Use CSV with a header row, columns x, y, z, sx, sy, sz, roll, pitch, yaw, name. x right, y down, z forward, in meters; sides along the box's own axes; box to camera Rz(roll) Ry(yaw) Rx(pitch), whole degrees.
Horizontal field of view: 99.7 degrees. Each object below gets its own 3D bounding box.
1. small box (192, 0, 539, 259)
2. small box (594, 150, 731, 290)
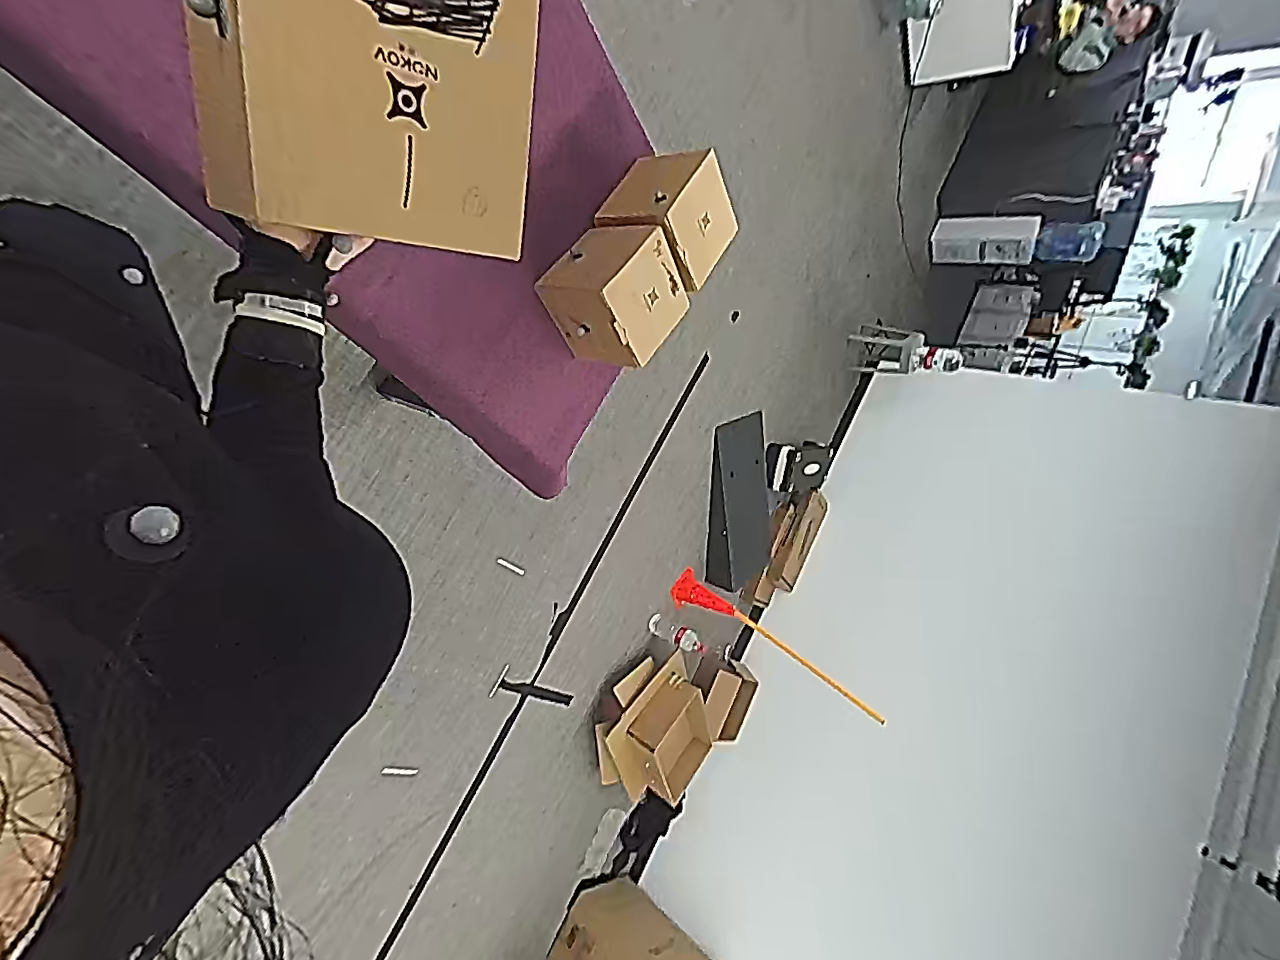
x,y,z,sx,sy,sz,roll,pitch,yaw,name
-0.191,-0.266,0.376,0.168,0.176,0.179,-12,121,-43,small box
0.044,-0.486,1.020,0.179,0.176,0.168,-59,143,-17,small box
